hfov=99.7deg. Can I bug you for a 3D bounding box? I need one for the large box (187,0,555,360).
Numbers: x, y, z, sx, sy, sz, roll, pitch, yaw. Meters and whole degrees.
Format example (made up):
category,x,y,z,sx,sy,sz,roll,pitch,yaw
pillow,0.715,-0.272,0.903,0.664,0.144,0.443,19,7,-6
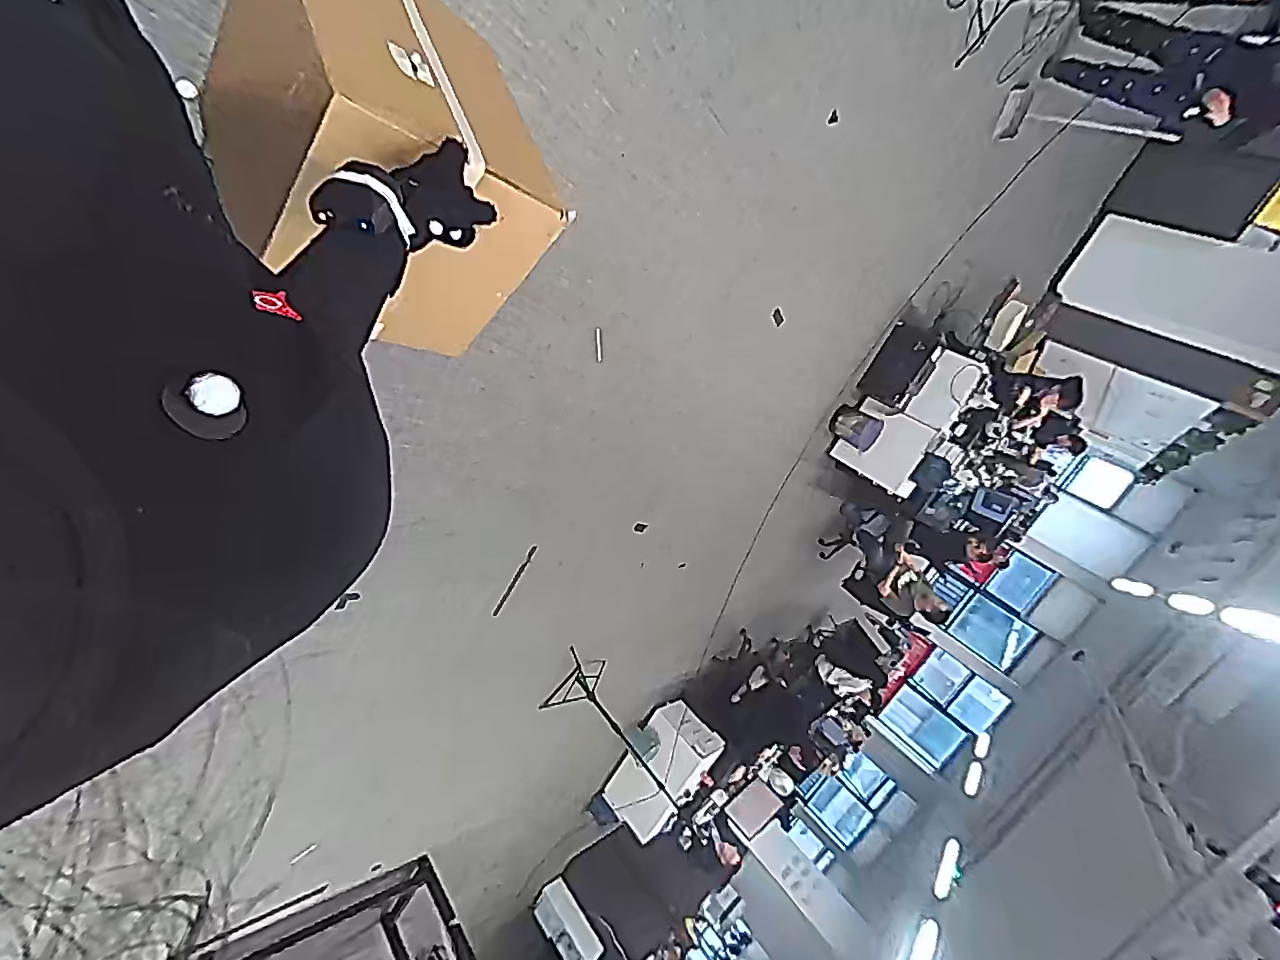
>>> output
category,x,y,z,sx,sy,sz,roll,pitch,yaw
large box,-0.389,-0.447,0.771,0.320,0.408,0.320,-34,159,32
